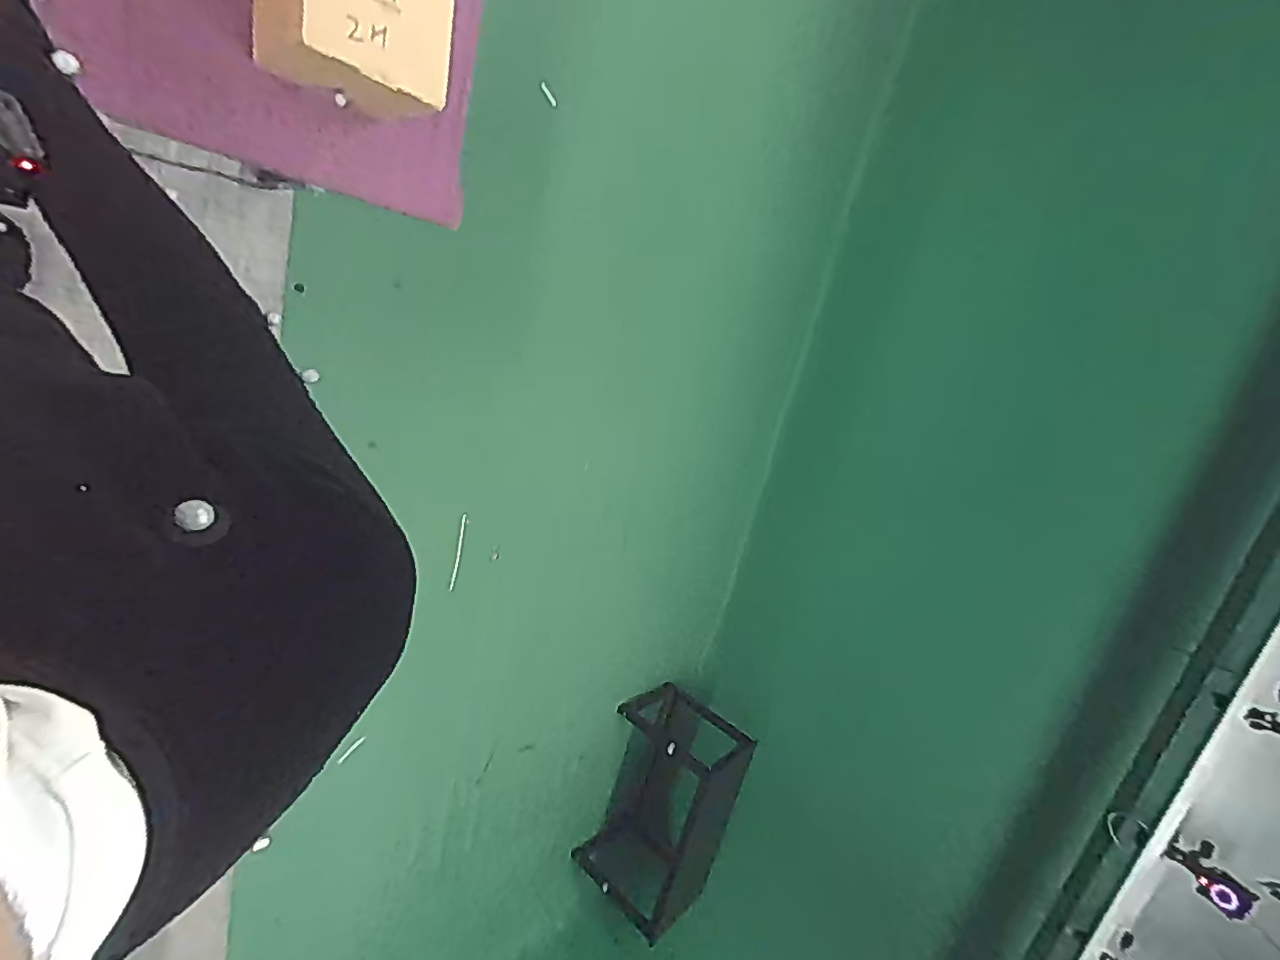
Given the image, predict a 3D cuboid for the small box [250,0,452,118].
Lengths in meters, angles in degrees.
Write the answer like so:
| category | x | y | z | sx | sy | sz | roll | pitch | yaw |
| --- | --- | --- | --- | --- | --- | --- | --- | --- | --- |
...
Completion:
| category | x | y | z | sx | sy | sz | roll | pitch | yaw |
| --- | --- | --- | --- | --- | --- | --- | --- | --- | --- |
| small box | -0.349 | -0.570 | 0.652 | 0.168 | 0.176 | 0.179 | -6 | 113 | -50 |
